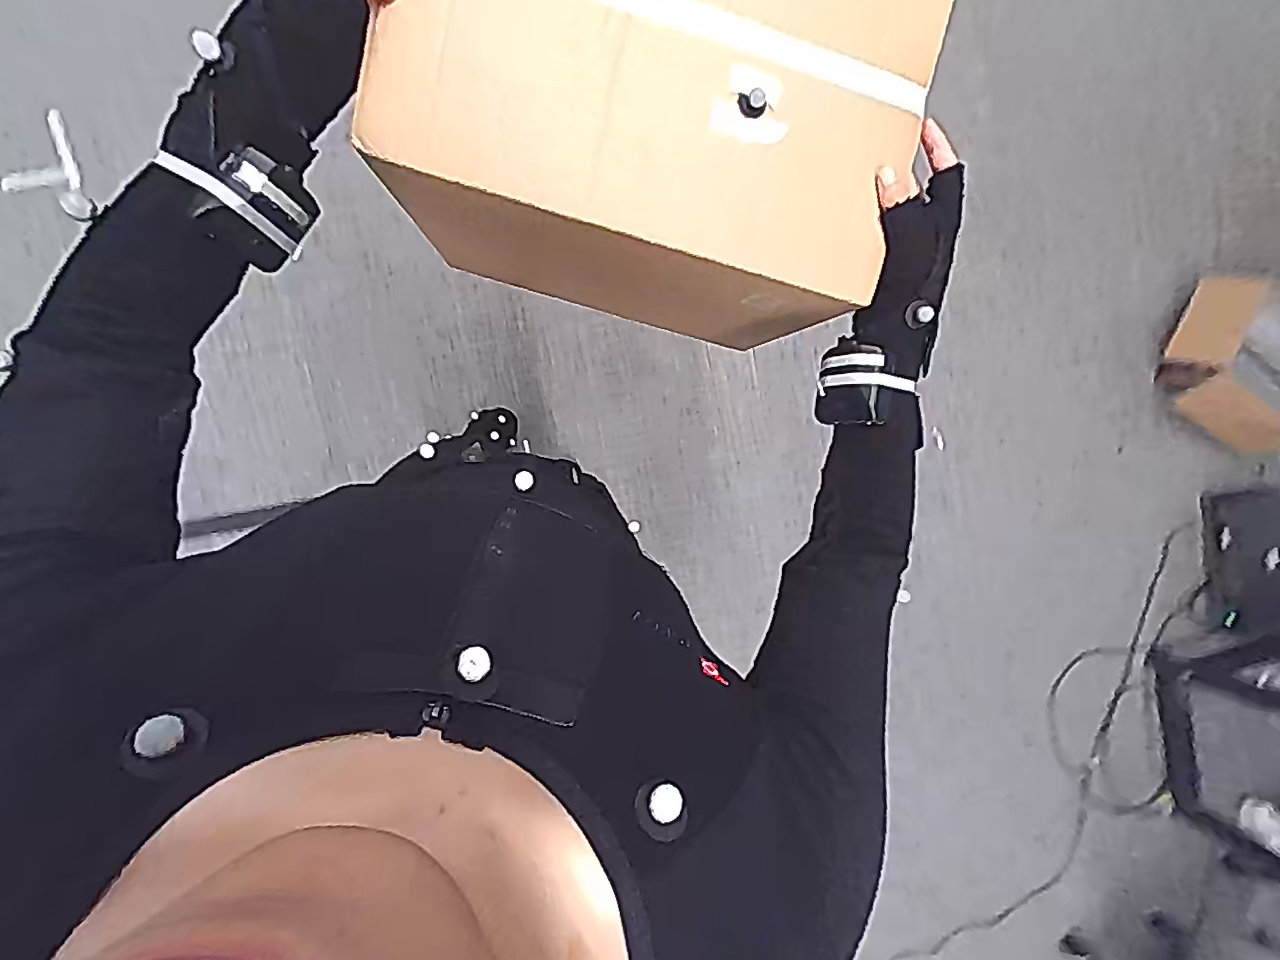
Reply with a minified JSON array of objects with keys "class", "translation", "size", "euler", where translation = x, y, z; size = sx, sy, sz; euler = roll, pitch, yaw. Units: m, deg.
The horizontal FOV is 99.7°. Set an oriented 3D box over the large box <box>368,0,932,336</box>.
[{"class":"large box","translation":[0.002,-0.364,0.553],"size":[0.408,0.320,0.320],"euler":[12,96,-10]}]
